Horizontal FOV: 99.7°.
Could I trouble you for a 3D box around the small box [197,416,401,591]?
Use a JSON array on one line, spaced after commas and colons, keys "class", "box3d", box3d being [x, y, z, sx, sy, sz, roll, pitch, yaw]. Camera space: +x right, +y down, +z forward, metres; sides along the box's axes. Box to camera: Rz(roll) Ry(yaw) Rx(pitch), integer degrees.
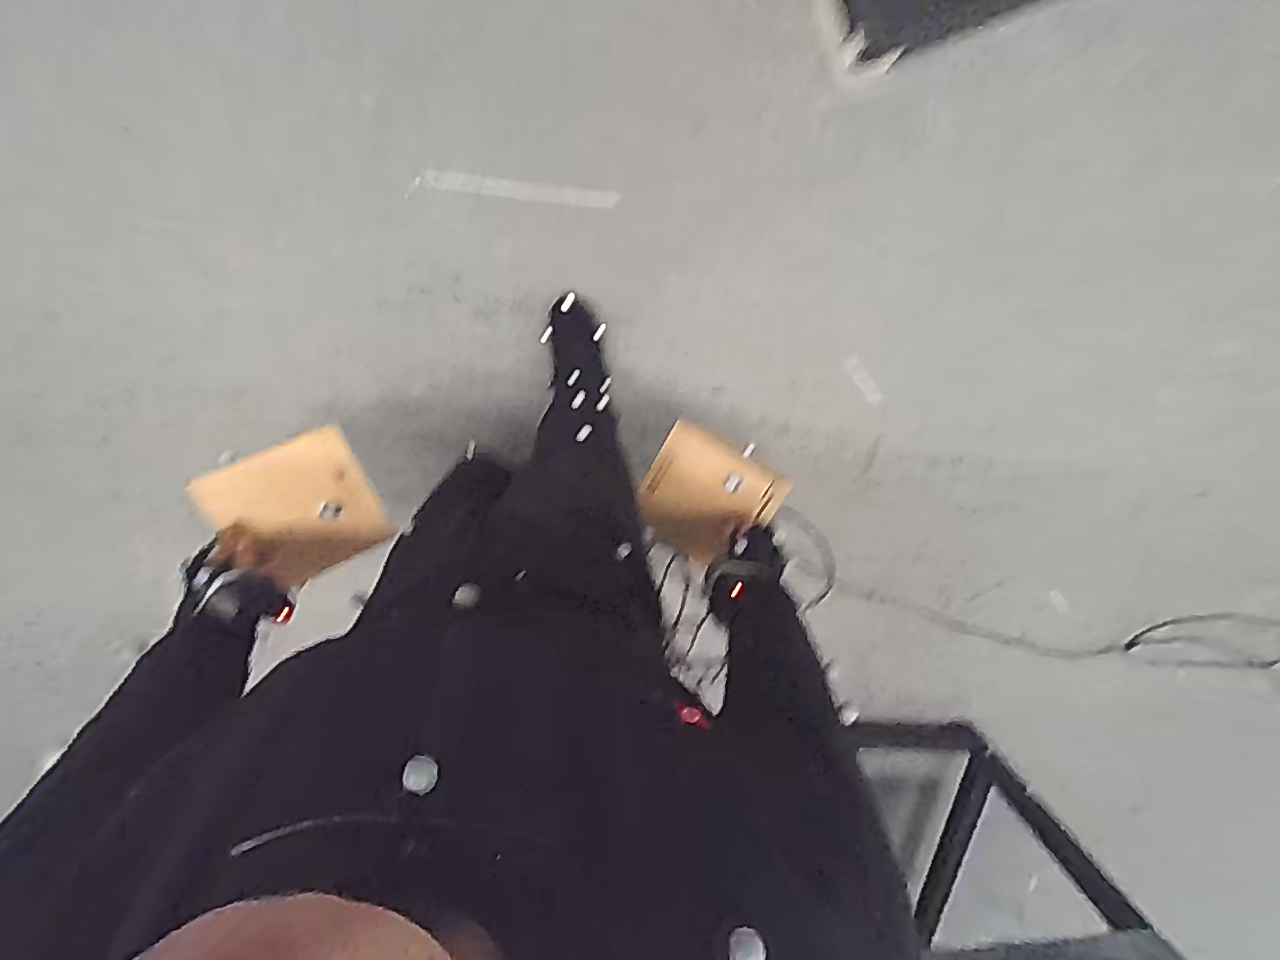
[{"class": "small box", "box3d": [-0.447, 0.020, 0.734, 0.176, 0.179, 0.168, -30, 109, -26]}]
